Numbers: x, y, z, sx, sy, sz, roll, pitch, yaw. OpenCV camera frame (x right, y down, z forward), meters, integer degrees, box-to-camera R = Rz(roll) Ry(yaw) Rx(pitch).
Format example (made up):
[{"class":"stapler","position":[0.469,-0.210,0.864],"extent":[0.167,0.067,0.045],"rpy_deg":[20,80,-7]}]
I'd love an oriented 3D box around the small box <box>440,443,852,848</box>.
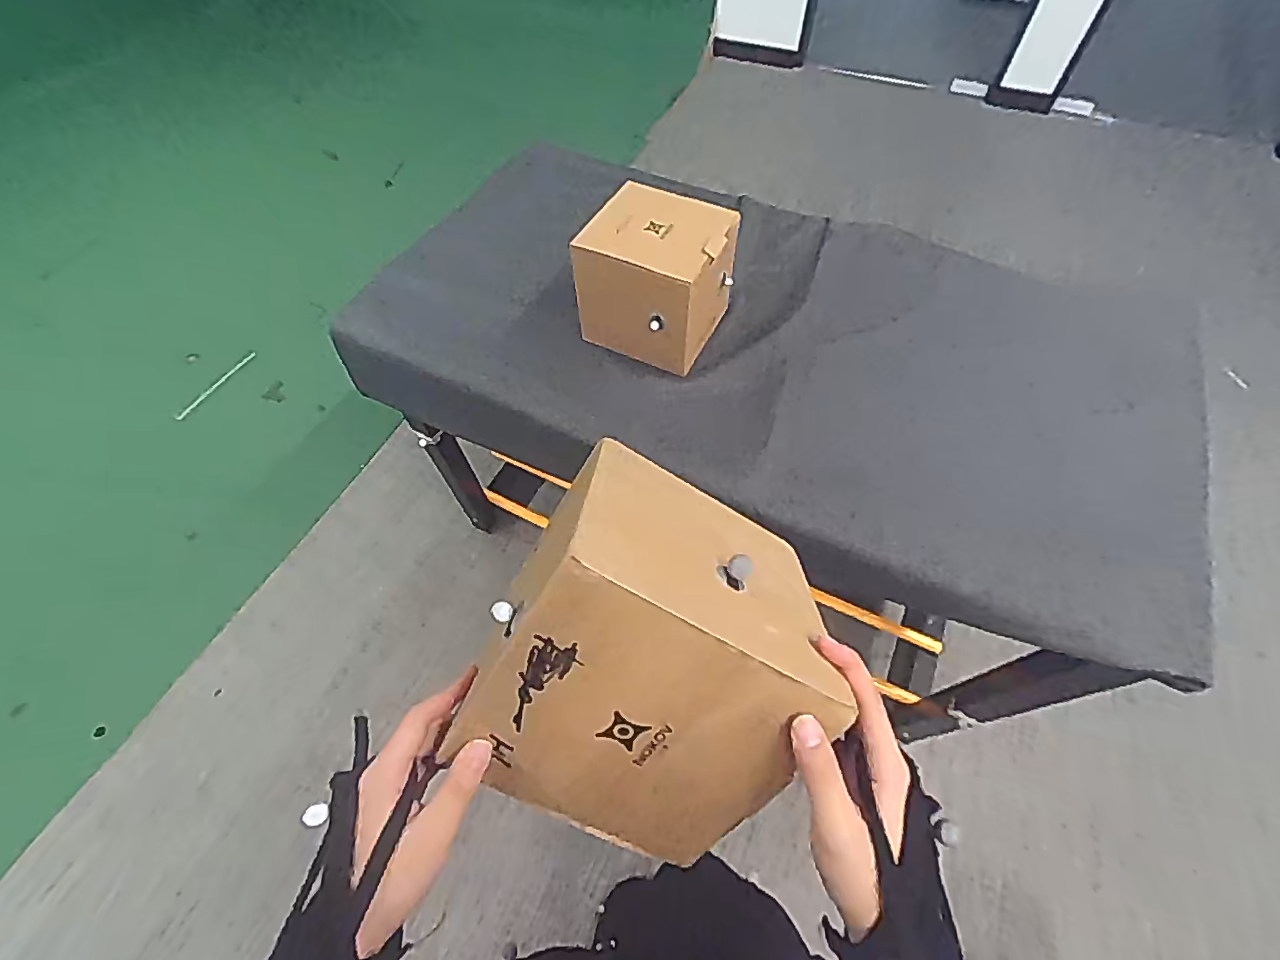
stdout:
[{"class":"small box","position":[0.002,0.099,0.371],"extent":[0.179,0.168,0.176],"rpy_deg":[30,22,-11]}]

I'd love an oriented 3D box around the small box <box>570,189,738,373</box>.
[{"class":"small box","position":[0.022,-0.283,0.785],"extent":[0.179,0.176,0.168],"rpy_deg":[22,60,15]}]
